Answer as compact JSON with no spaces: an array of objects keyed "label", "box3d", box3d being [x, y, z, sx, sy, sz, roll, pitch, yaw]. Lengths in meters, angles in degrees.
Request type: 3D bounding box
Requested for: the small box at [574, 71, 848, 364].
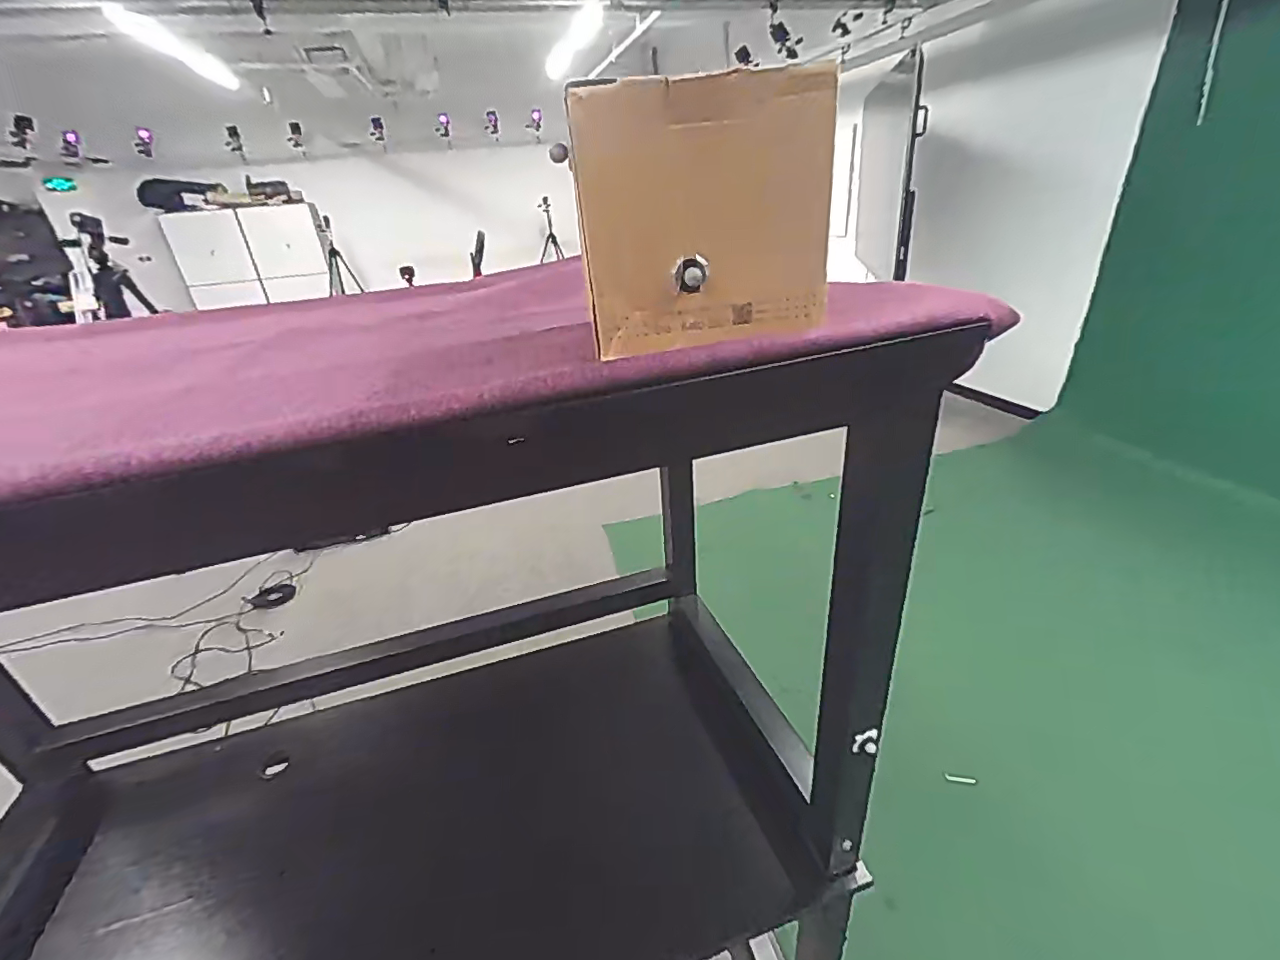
[{"label":"small box","box3d":[0.039,-0.199,0.425,0.168,0.176,0.179,-8,29,-4]}]
